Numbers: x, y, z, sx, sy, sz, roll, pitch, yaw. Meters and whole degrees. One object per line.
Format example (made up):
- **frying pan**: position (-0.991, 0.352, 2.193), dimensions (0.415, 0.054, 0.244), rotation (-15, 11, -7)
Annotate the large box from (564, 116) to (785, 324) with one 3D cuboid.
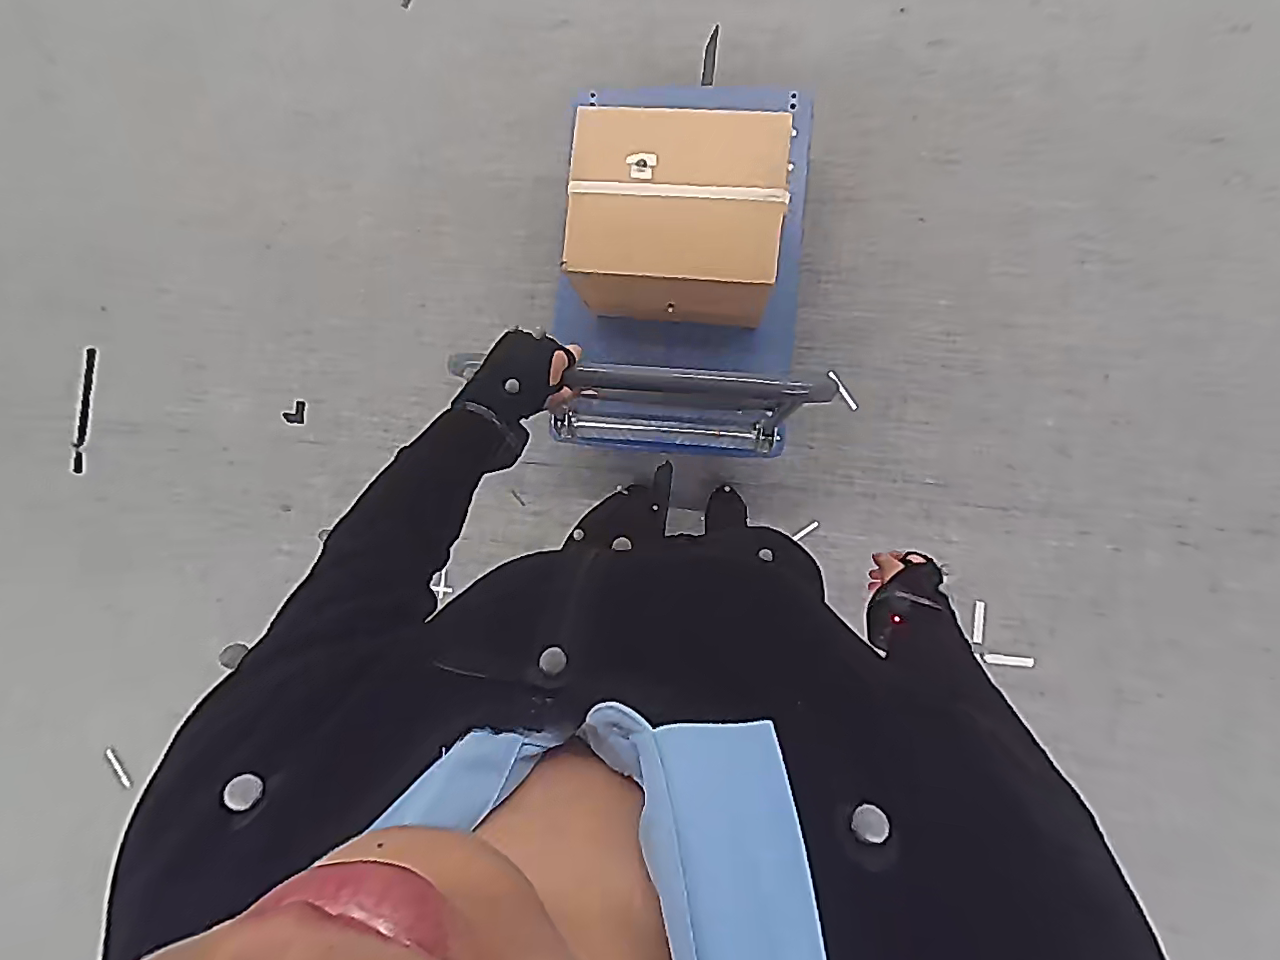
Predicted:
- **large box**: position (0.082, -0.535, 1.168), dimensions (0.408, 0.320, 0.320), rotation (6, 90, 8)
